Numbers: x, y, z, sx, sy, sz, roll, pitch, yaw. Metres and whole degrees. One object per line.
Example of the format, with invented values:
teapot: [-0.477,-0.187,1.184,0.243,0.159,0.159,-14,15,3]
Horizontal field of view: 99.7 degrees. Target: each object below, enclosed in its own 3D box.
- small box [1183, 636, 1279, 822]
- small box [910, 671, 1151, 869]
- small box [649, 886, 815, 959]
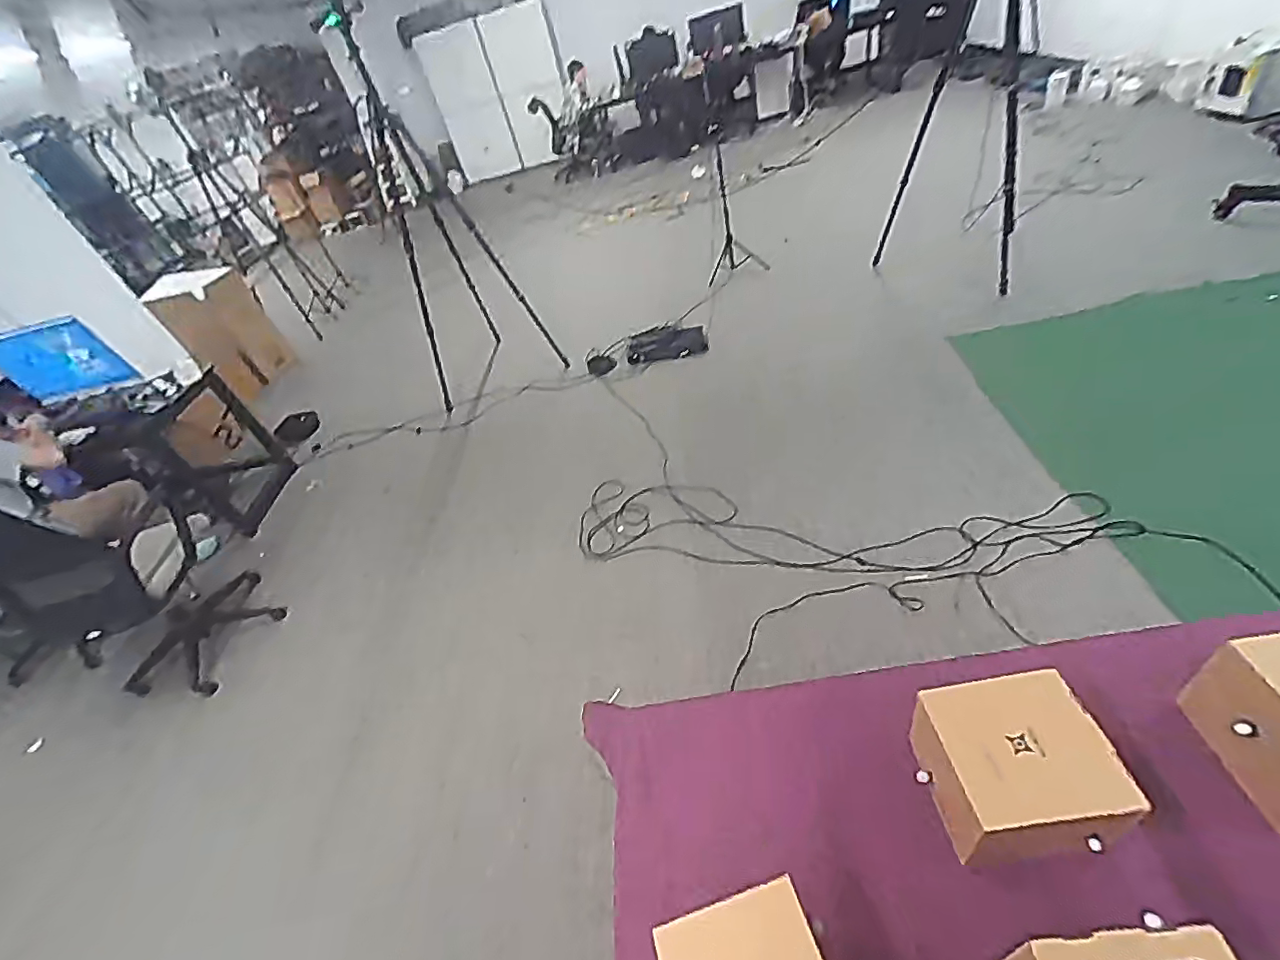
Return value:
small box: [0.816,0.297,0.633,0.168,0.176,0.179,-11,41,9]
small box: [0.468,0.370,0.685,0.179,0.176,0.168,-13,41,7]
small box: [0.121,0.579,0.576,0.168,0.176,0.179,-19,41,-1]
